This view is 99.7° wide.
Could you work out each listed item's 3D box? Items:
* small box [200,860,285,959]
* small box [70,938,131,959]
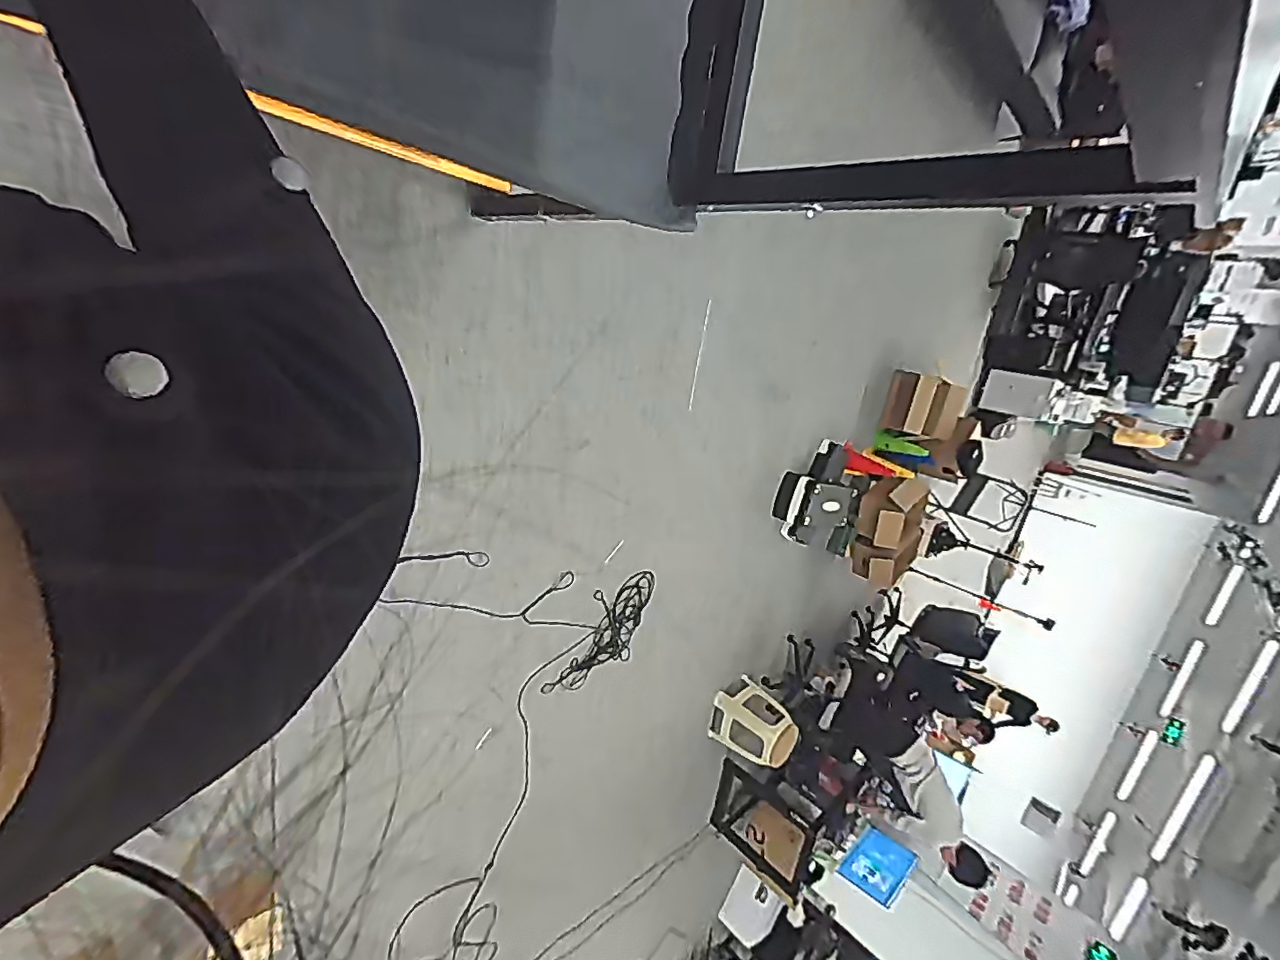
[{"bbox_3d":[-1.130,1.246,1.539,0.168,0.176,0.179,-11,114,-44],"label":"small box"},{"bbox_3d":[-1.355,1.281,1.317,0.168,0.176,0.179,-15,119,-41],"label":"small box"}]
